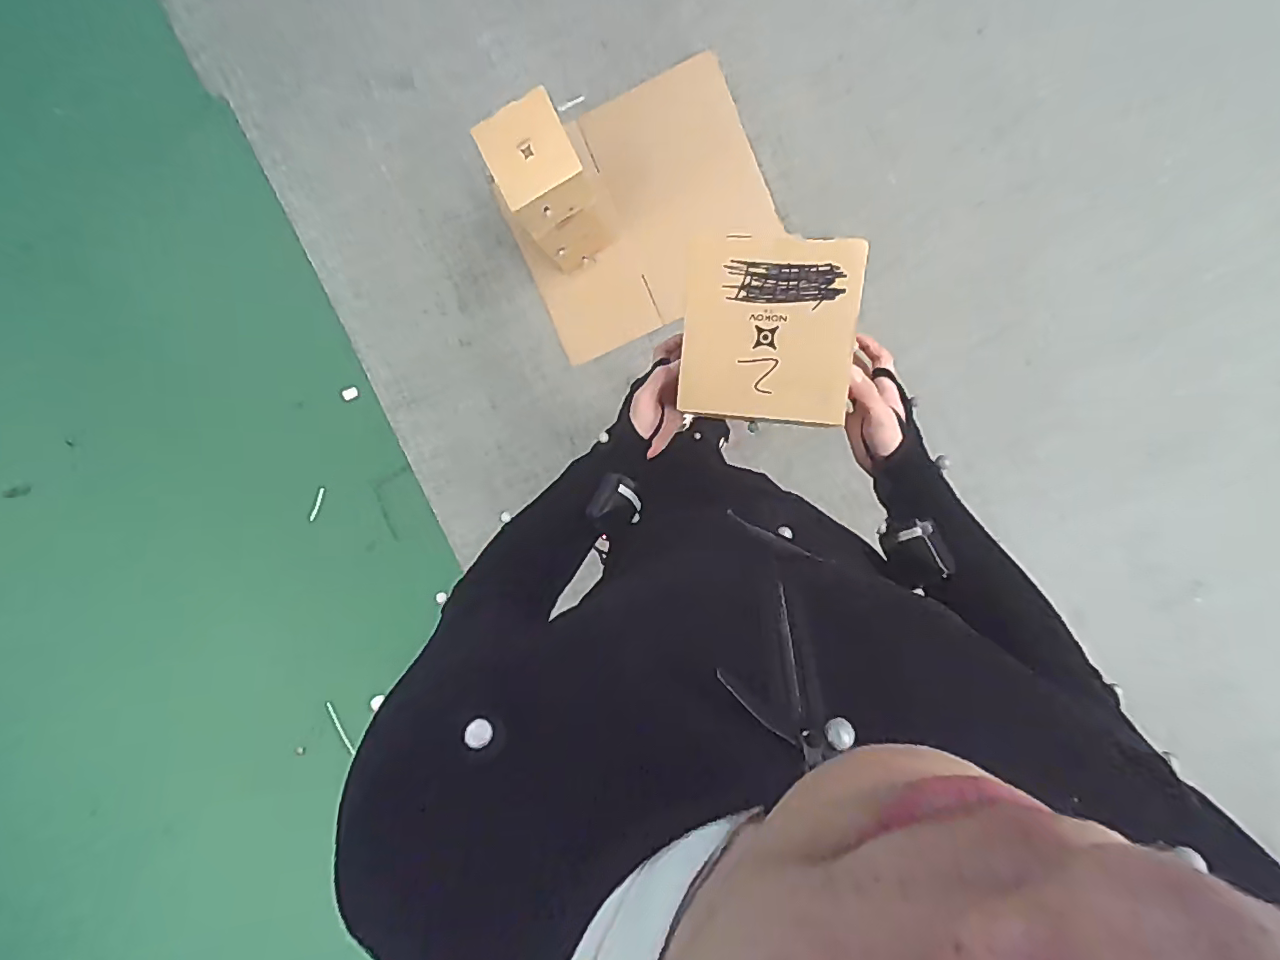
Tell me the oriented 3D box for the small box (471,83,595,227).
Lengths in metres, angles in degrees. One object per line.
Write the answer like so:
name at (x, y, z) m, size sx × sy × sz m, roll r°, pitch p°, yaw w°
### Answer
small box at (-0.208, -0.649, 1.113) m, size 0.168 × 0.176 × 0.179 m, roll -27°, pitch 95°, yaw 8°

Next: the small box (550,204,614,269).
small box at (-0.185, -0.692, 1.435) m, size 0.168 × 0.176 × 0.179 m, roll -30°, pitch 95°, yaw 8°

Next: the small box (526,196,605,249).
small box at (-0.199, -0.669, 1.274) m, size 0.168 × 0.176 × 0.179 m, roll -27°, pitch 94°, yaw 8°
